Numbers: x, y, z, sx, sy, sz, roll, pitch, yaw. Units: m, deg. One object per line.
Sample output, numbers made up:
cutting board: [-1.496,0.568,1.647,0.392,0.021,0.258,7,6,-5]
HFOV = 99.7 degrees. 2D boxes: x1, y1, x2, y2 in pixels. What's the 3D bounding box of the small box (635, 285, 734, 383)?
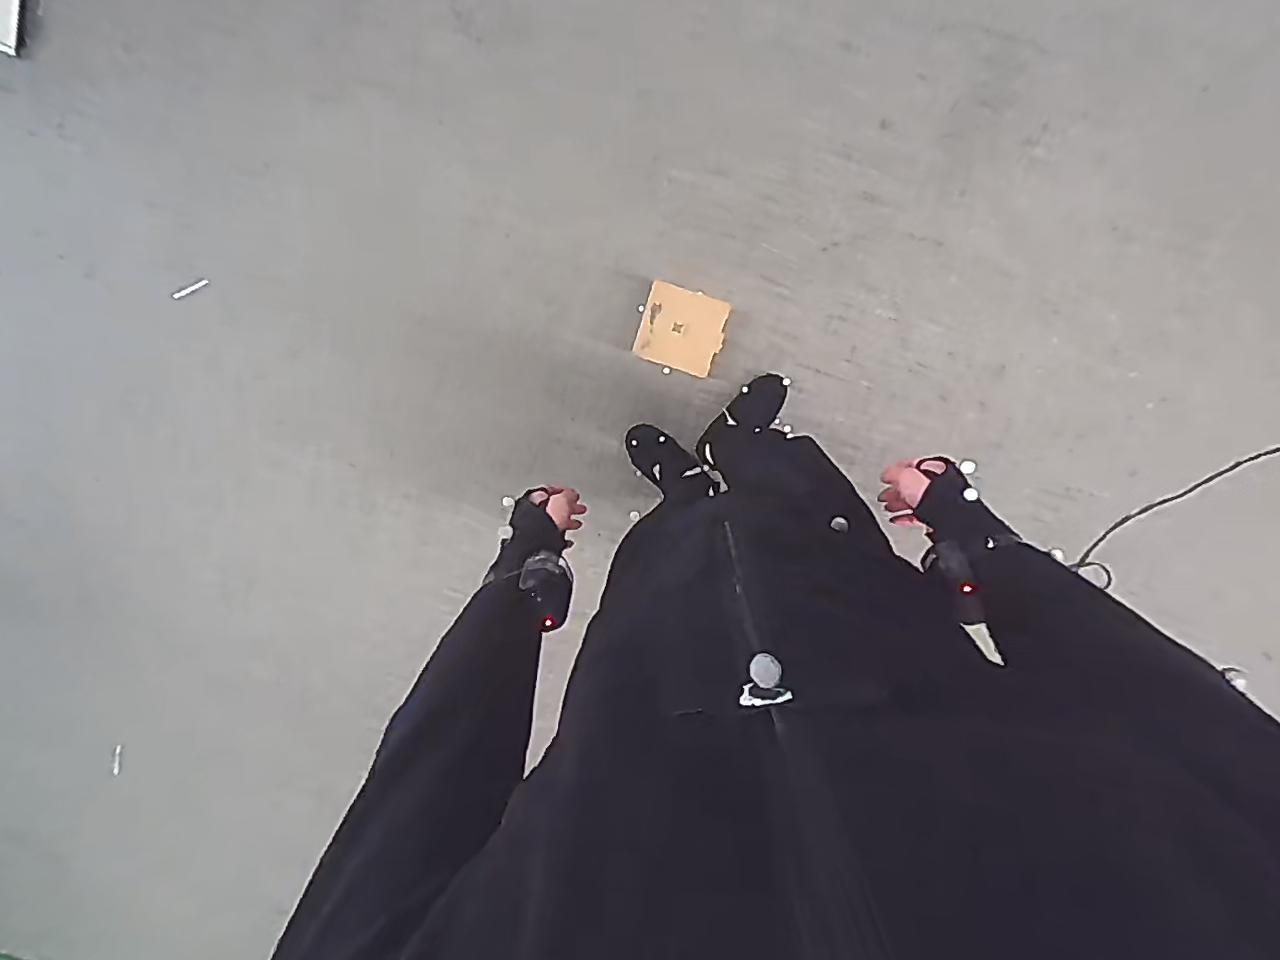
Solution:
small box: [0.096,-0.329,1.239,0.179,0.176,0.168,18,101,-2]
